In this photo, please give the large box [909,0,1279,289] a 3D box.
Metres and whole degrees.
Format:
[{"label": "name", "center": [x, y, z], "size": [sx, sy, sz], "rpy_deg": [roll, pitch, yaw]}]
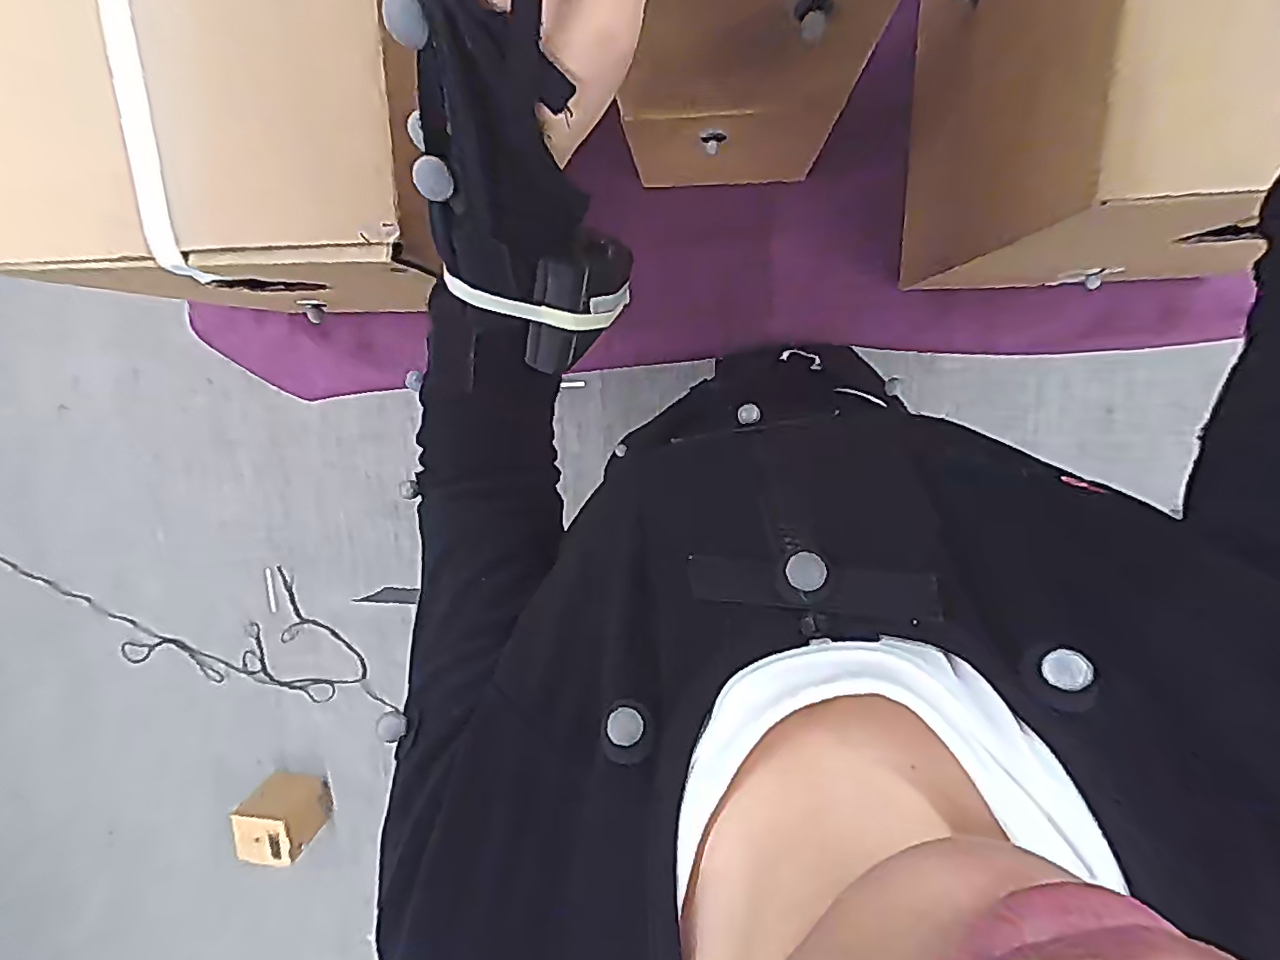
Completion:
[{"label": "large box", "center": [0.405, -0.374, 0.376], "size": [0.320, 0.320, 0.408], "rpy_deg": [-1, 100, 6]}]
